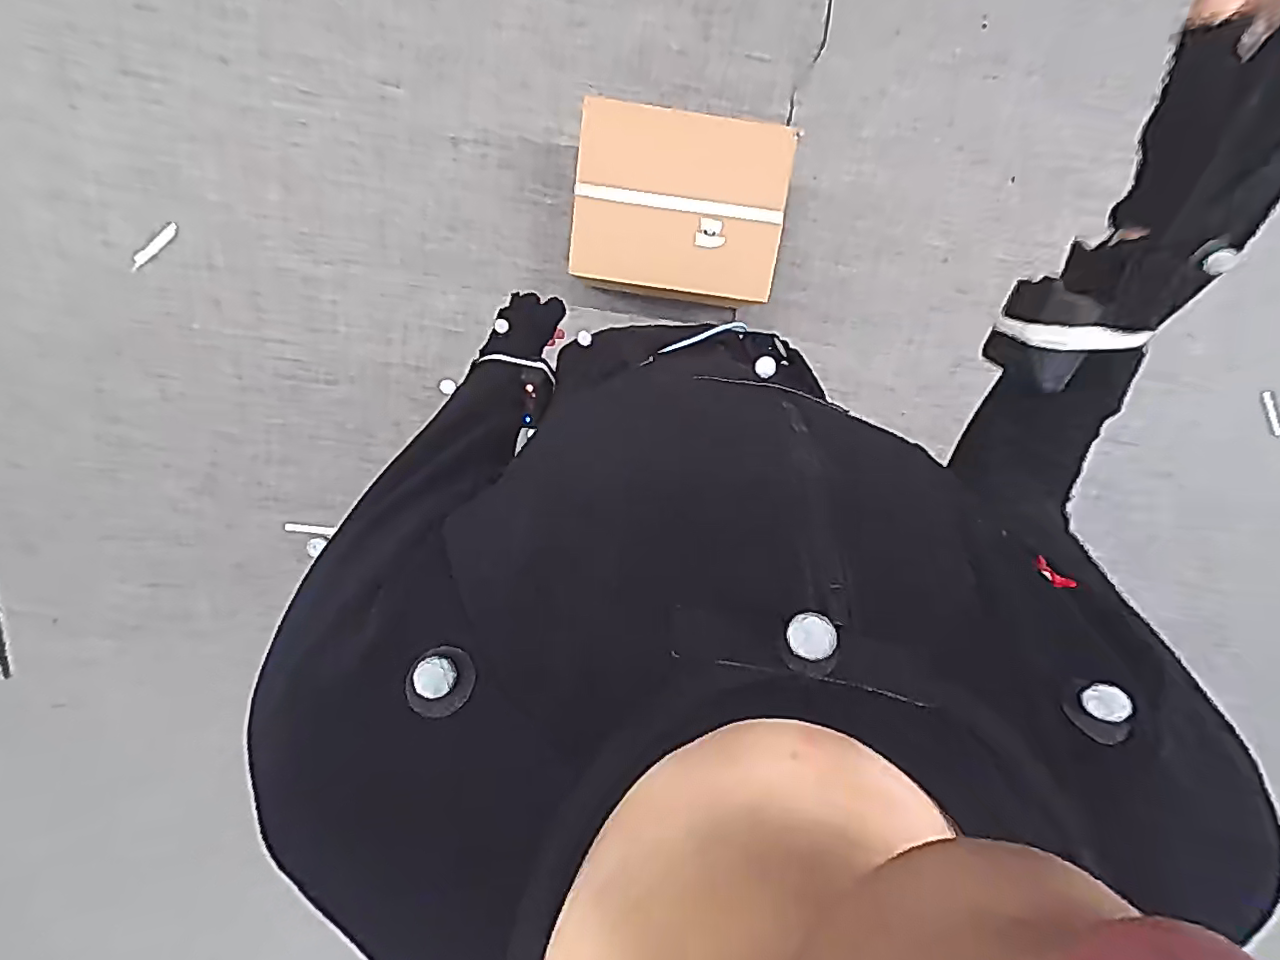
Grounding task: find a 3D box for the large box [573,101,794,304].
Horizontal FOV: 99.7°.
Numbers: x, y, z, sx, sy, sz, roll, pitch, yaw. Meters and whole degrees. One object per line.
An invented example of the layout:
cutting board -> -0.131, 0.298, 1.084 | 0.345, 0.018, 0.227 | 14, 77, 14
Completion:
large box -> 0.075, -0.579, 1.198 | 0.408, 0.320, 0.320 | 7, 107, -3
